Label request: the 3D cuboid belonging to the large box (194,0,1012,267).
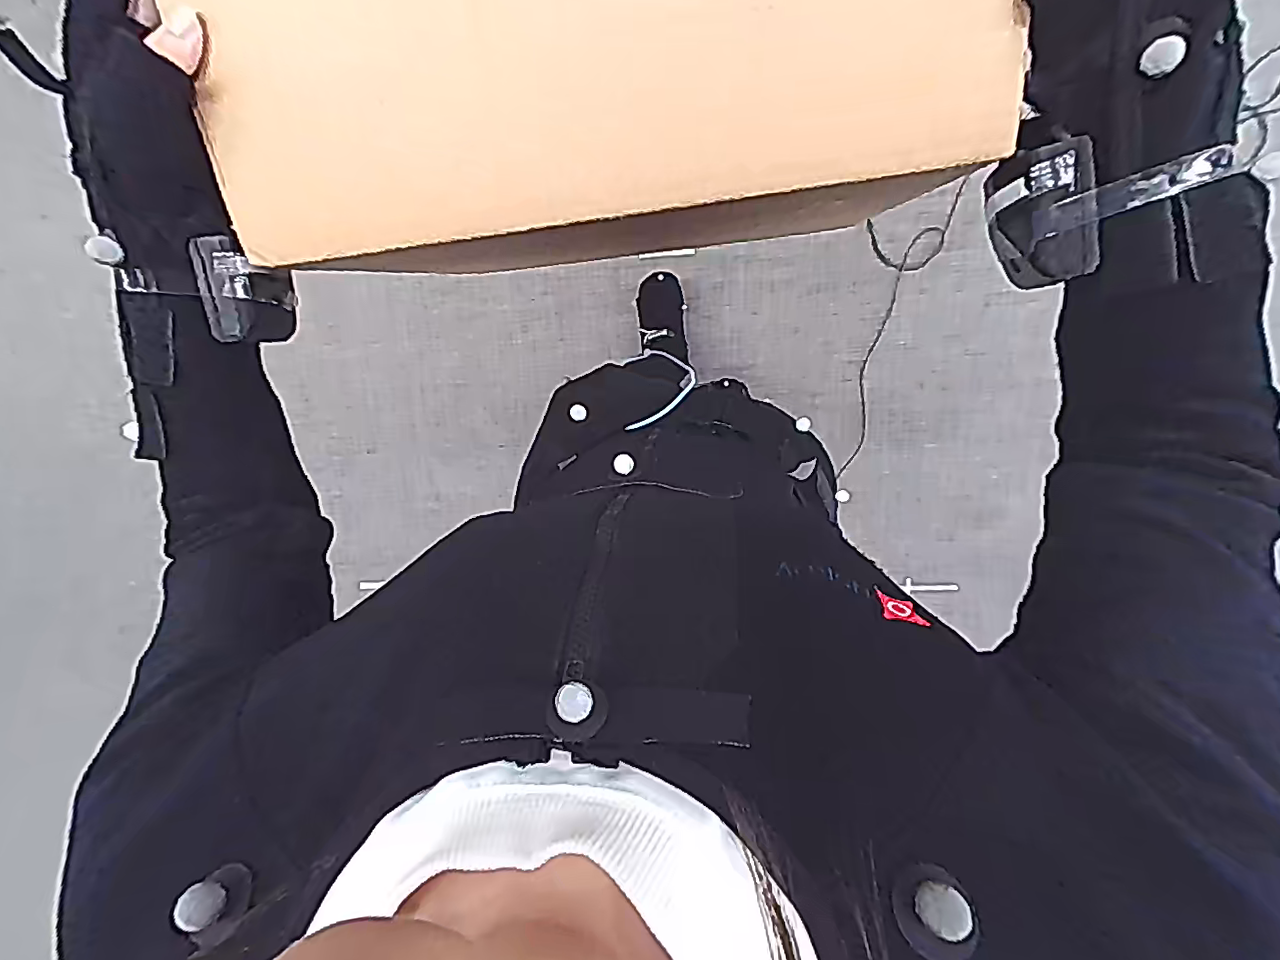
[{"bbox_3d":[-0.023,-0.345,0.381,0.408,0.320,0.320,-4,110,9],"label":"large box"}]
